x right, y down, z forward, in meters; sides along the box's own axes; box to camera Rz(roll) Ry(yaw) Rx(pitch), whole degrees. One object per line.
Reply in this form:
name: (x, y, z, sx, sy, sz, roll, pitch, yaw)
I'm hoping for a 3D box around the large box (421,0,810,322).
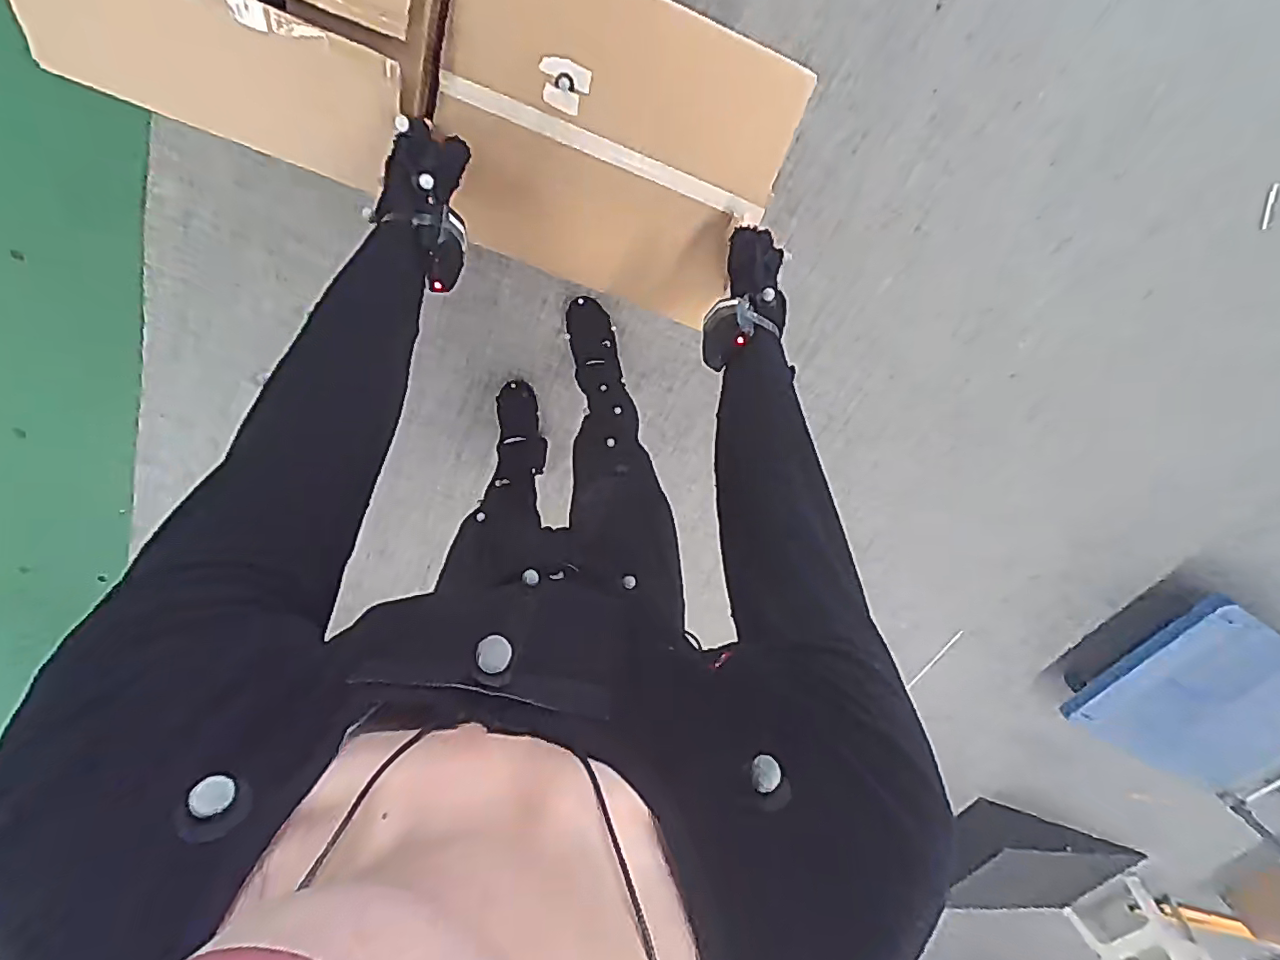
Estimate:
large box: (-0.038, -0.471, 0.775, 0.408, 0.320, 0.320, 19, 117, -9)
